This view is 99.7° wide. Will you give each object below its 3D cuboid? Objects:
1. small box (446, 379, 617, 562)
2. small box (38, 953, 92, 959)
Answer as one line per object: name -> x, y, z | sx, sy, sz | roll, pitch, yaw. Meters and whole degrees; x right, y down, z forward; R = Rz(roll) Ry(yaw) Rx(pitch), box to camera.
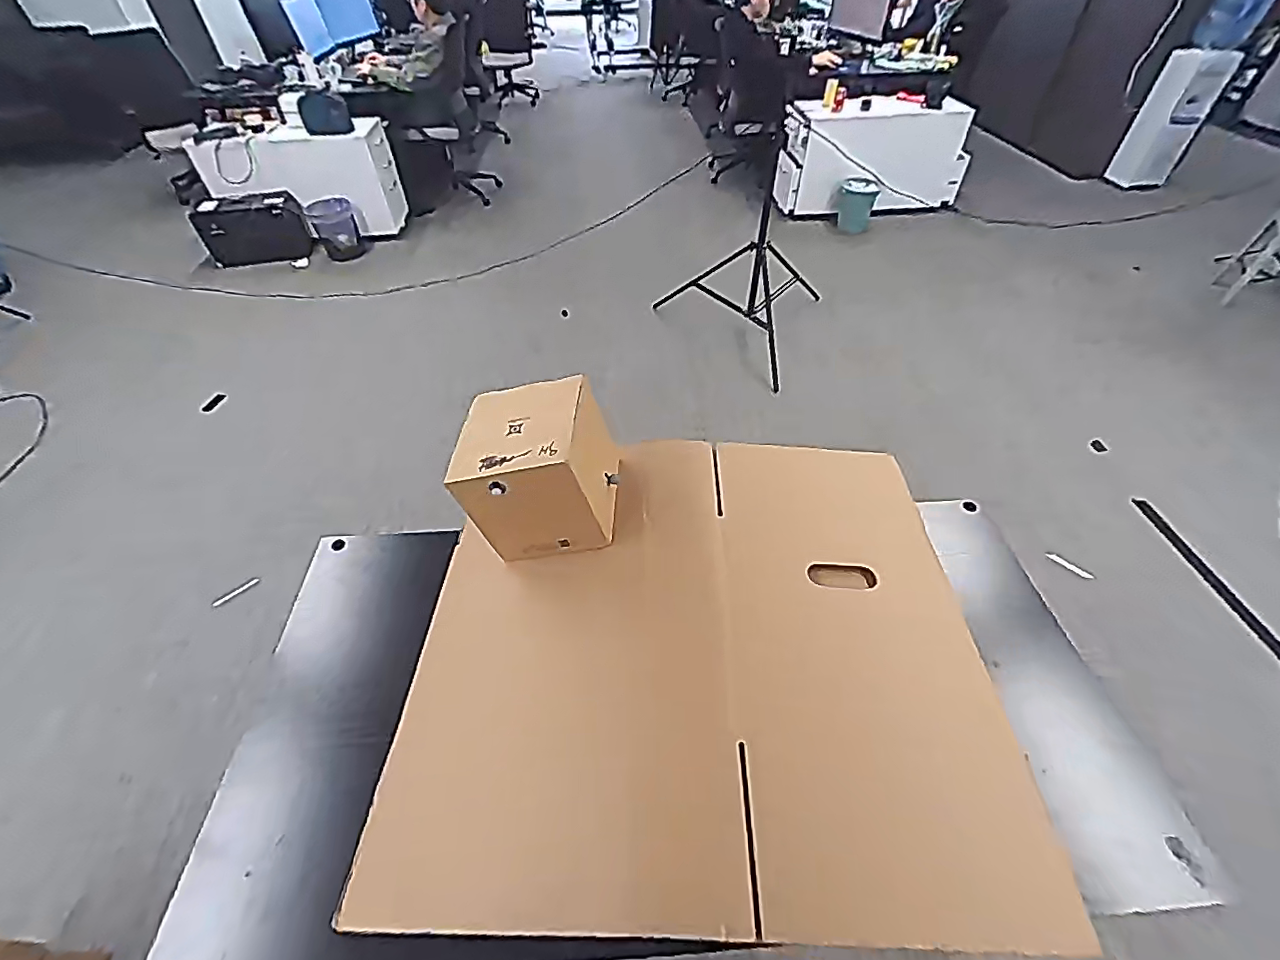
small box -> -0.135, -0.011, 0.755 | 0.168, 0.176, 0.179 | -10, 44, 13
small box -> -1.187, 1.020, 1.014 | 0.168, 0.176, 0.179 | -7, 47, -5
